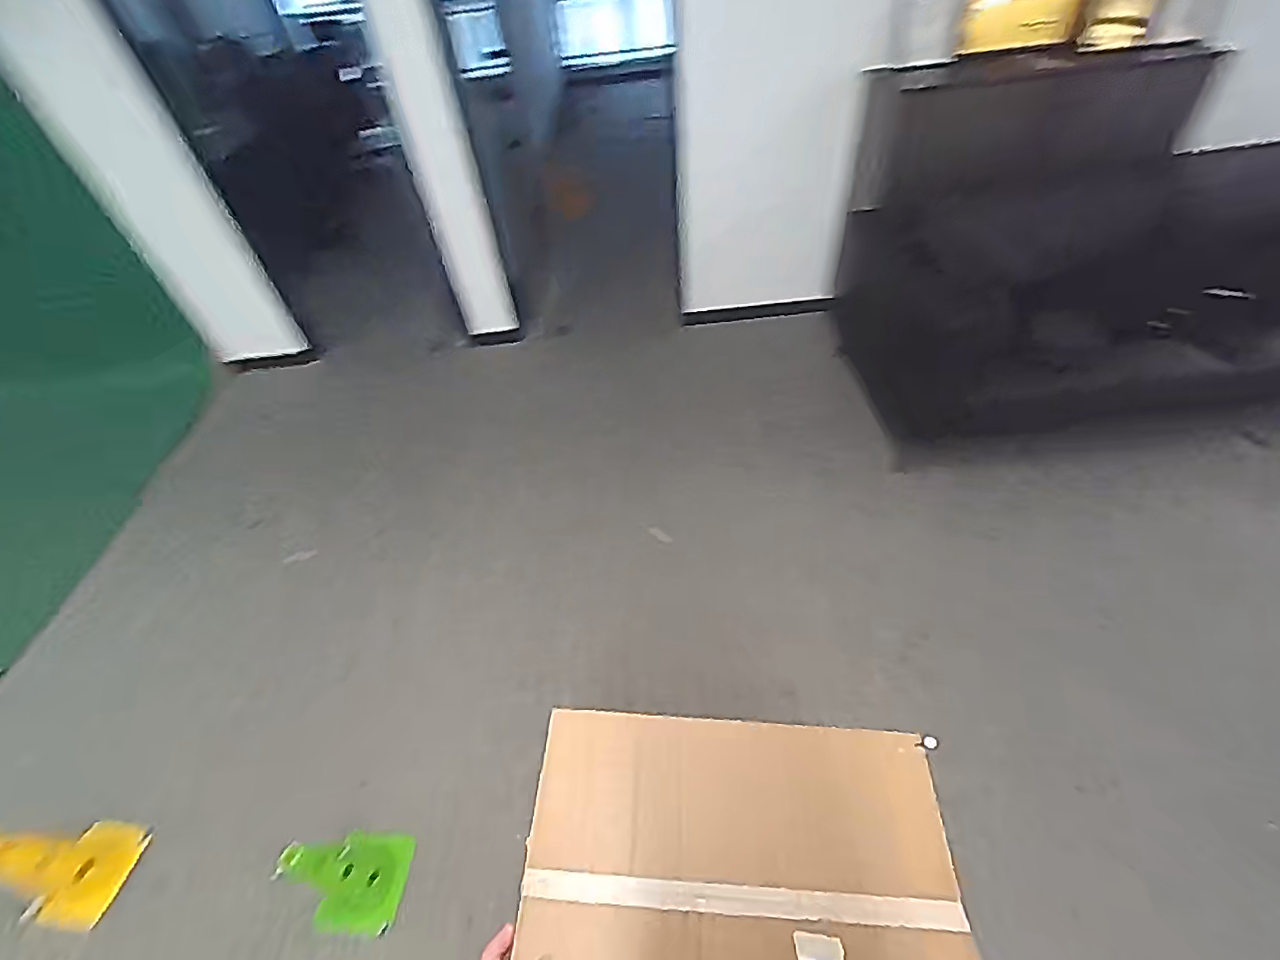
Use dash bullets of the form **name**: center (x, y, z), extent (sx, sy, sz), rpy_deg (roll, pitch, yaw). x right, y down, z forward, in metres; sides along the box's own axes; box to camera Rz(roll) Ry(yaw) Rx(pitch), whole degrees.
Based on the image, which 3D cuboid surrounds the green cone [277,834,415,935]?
- **green cone**: center (-0.705, 0.896, 1.242), extent (0.202, 0.368, 0.200), rpy_deg (-2, 46, 7)
